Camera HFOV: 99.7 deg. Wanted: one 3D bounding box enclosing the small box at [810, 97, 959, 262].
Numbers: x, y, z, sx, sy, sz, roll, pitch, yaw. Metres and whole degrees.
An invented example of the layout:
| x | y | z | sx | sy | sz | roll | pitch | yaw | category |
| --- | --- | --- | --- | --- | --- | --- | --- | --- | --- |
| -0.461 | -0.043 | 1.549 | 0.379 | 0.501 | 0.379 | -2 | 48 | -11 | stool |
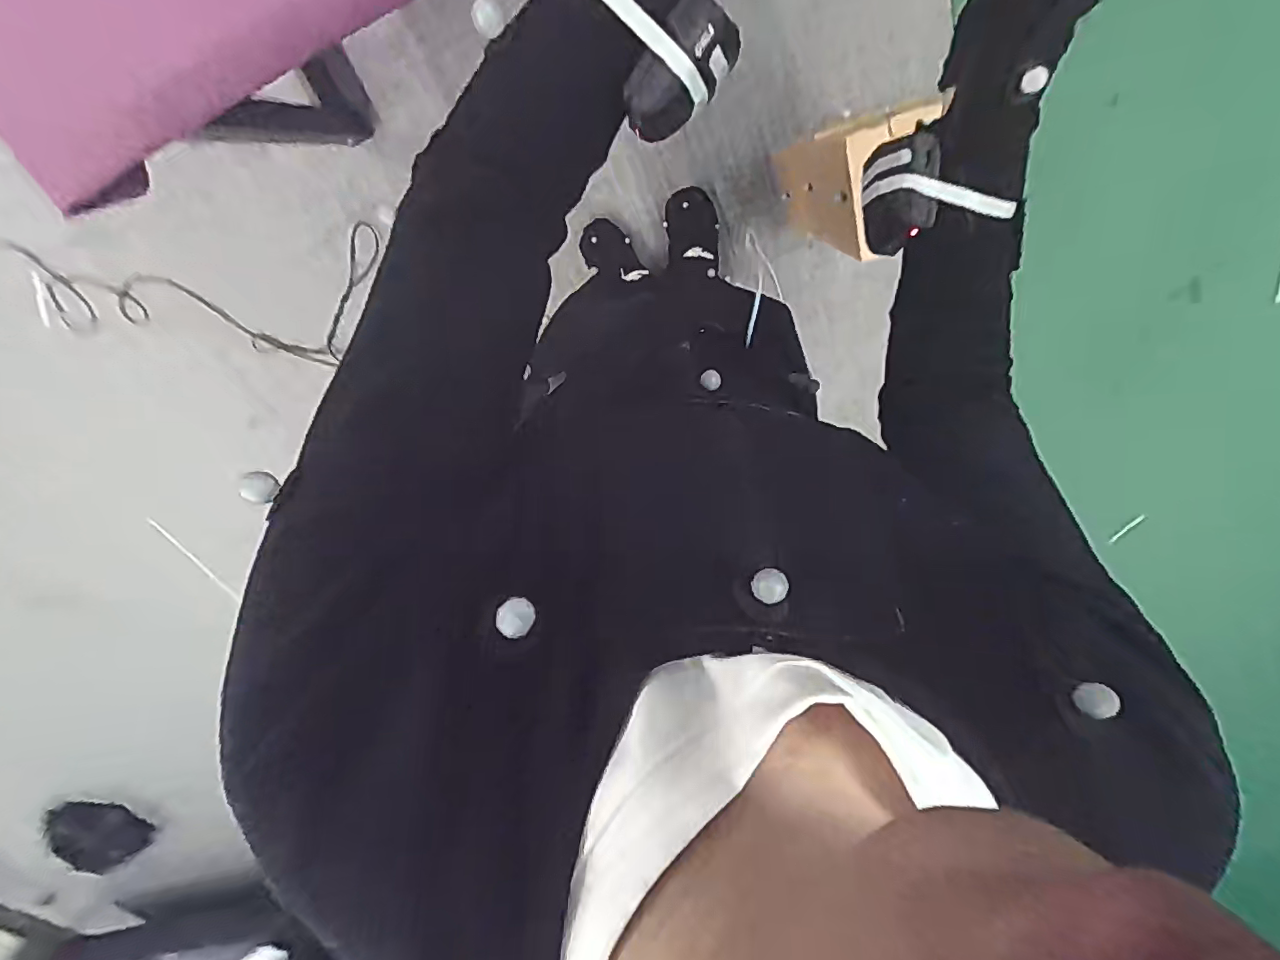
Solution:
| x | y | z | sx | sy | sz | roll | pitch | yaw | category |
| --- | --- | --- | --- | --- | --- | --- | --- | --- | --- |
| 0.379 | -0.470 | 0.853 | 0.168 | 0.176 | 0.179 | -15 | 119 | 10 | small box |

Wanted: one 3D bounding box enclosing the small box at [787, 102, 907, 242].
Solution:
| x | y | z | sx | sy | sz | roll | pitch | yaw | category |
| --- | --- | --- | --- | --- | --- | --- | --- | --- | --- |
| 0.377 | -0.560 | 0.988 | 0.168 | 0.176 | 0.179 | -14 | 119 | 10 | small box |
